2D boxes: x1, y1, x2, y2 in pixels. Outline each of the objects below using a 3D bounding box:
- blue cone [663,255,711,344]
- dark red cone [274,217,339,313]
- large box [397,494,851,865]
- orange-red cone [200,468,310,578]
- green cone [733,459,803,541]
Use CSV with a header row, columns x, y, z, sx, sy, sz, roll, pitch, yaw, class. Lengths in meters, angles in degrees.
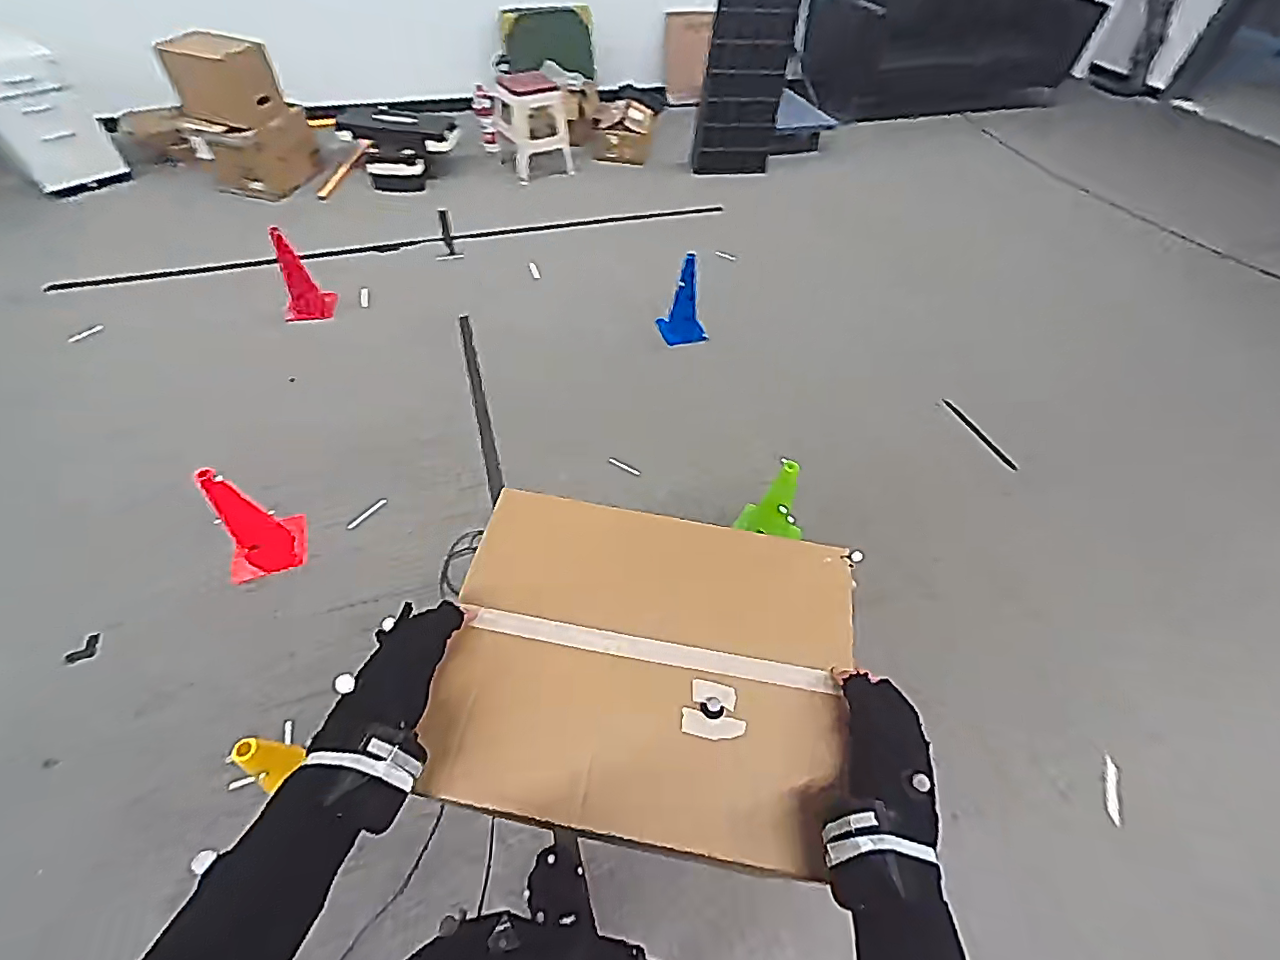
x,y,z,sx,sy,sz,roll,pitch,yaw,class
0.220,-0.785,2.334,0.192,0.380,0.193,-9,52,-12,blue cone
-1.445,-0.908,2.287,0.201,0.394,0.202,-7,52,-11,dark red cone
-0.005,0.253,0.666,0.408,0.320,0.320,10,55,3,large box
-1.114,0.091,1.523,0.198,0.360,0.199,-15,55,-14,orange-red cone
0.421,0.073,1.624,0.200,0.368,0.202,30,54,19,green cone
